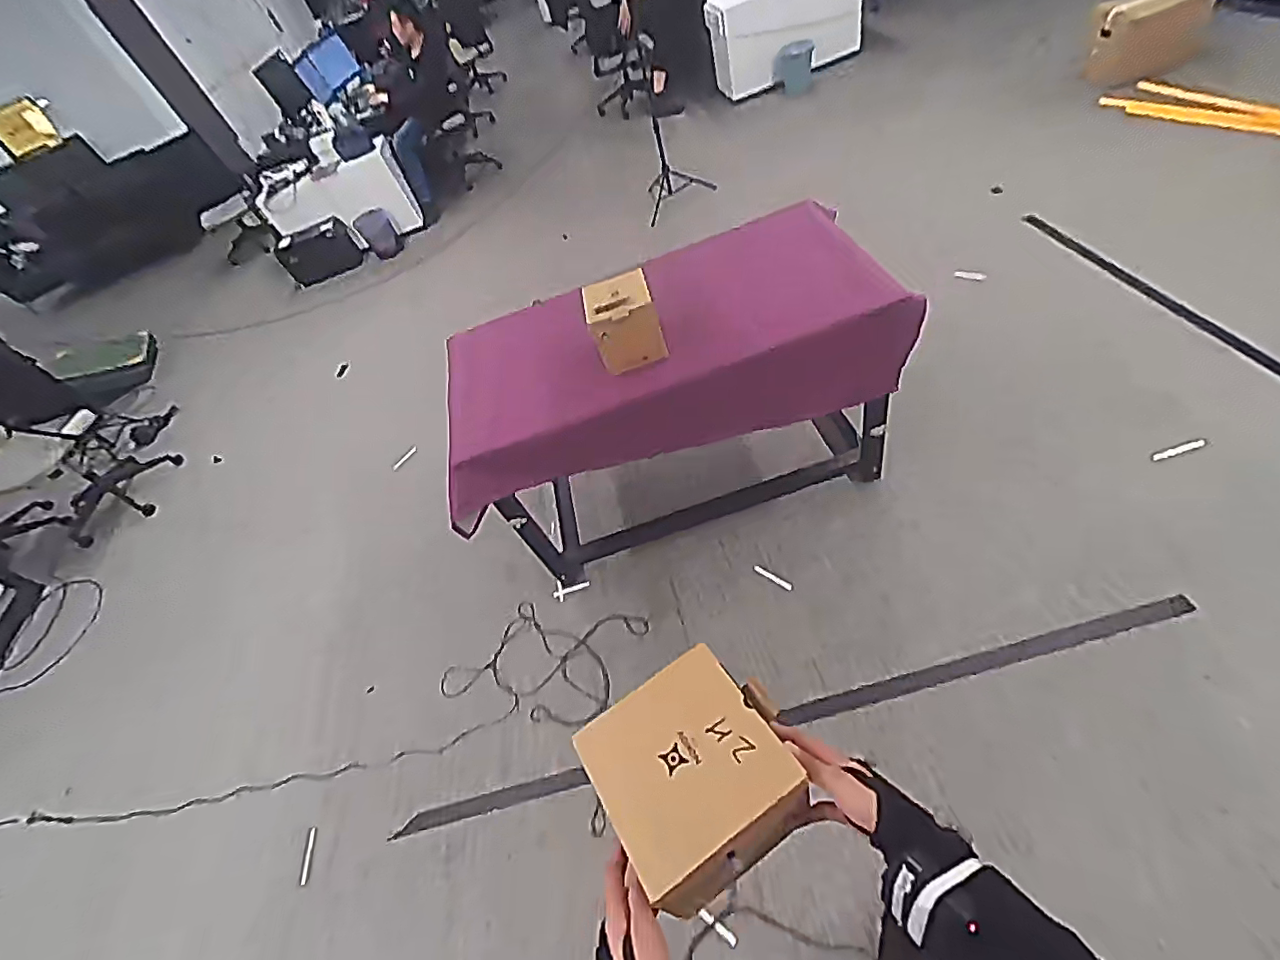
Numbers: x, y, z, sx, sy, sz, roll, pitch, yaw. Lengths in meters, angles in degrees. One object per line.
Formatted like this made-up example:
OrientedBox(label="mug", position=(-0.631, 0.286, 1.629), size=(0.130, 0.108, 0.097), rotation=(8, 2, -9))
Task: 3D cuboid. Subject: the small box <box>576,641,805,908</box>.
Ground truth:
OrientedBox(label="small box", position=(0.062, 0.318, 0.583), size=(0.179, 0.176, 0.168), rotation=(-31, 46, -12))
